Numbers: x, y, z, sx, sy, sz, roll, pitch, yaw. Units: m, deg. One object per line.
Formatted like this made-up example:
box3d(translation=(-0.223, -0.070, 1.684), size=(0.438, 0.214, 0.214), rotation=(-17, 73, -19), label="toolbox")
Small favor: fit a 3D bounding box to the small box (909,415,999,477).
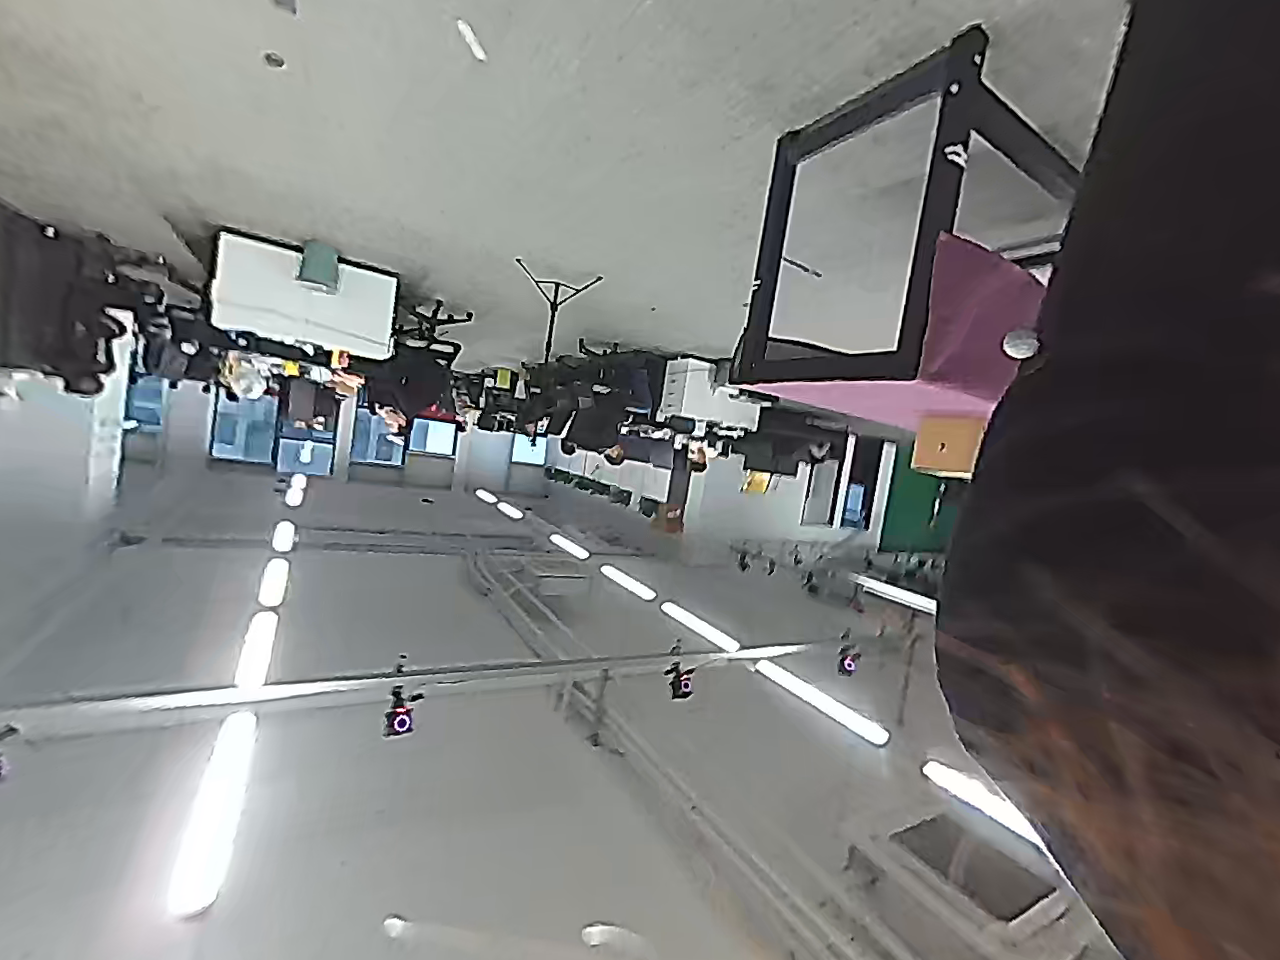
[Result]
box3d(translation=(0.991, -0.110, 1.704), size=(0.168, 0.176, 0.179), rotation=(7, -177, -28), label="small box")
